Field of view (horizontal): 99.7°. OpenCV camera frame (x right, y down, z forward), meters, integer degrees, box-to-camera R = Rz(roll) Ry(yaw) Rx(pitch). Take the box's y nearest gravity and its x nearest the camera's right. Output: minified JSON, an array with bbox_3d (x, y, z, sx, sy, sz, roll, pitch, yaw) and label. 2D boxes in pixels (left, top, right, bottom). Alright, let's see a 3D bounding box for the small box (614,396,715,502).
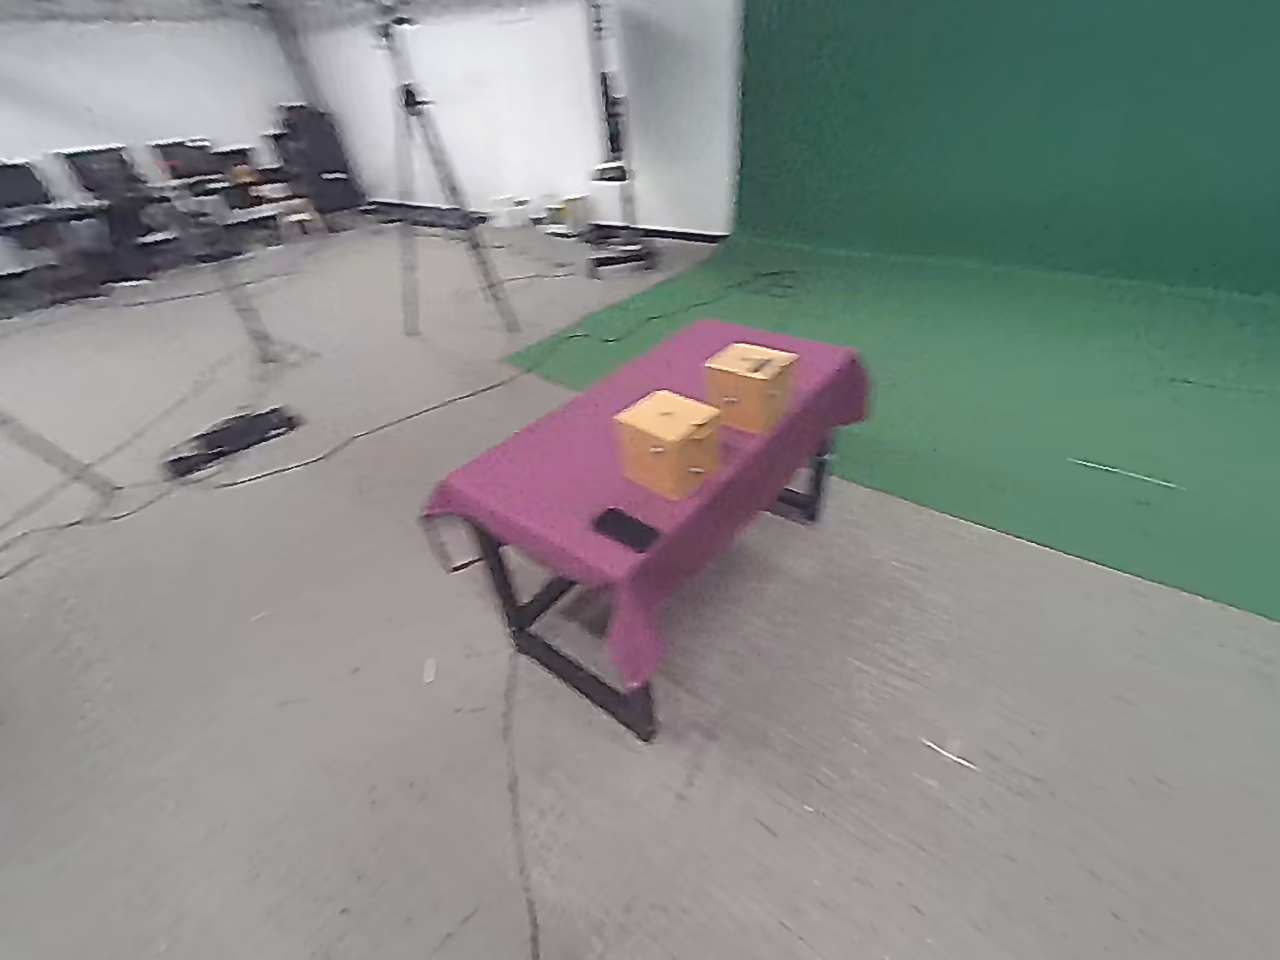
[{"bbox_3d":[0.060,-0.074,1.288,0.179,0.176,0.168,26,47,34],"label":"small box"}]
